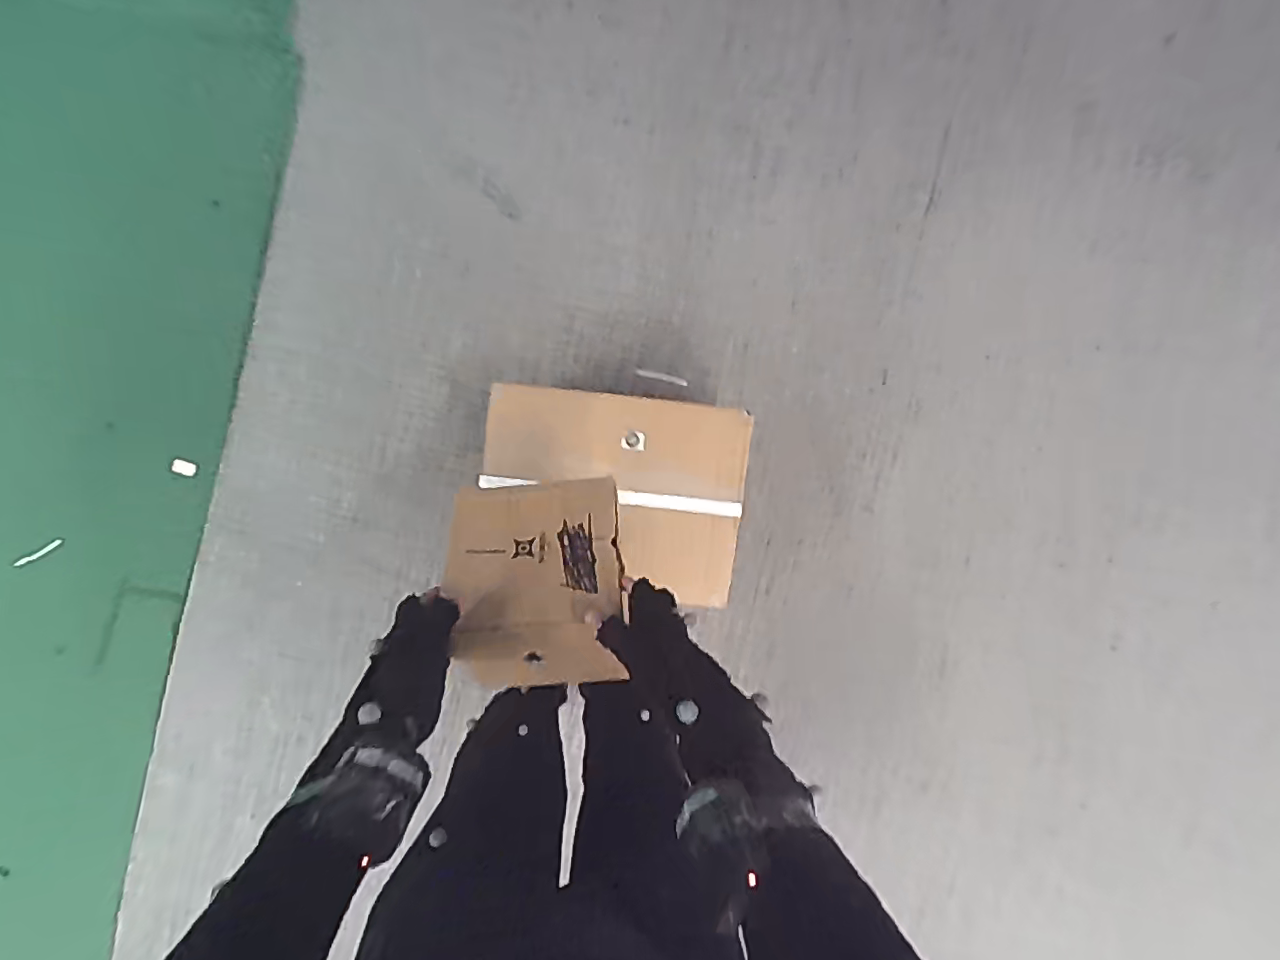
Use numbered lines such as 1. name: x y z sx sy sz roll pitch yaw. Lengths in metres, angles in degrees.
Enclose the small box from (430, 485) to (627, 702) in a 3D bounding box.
1. small box: -0.107 0.127 0.589 0.179 0.176 0.168 -7 52 -4
